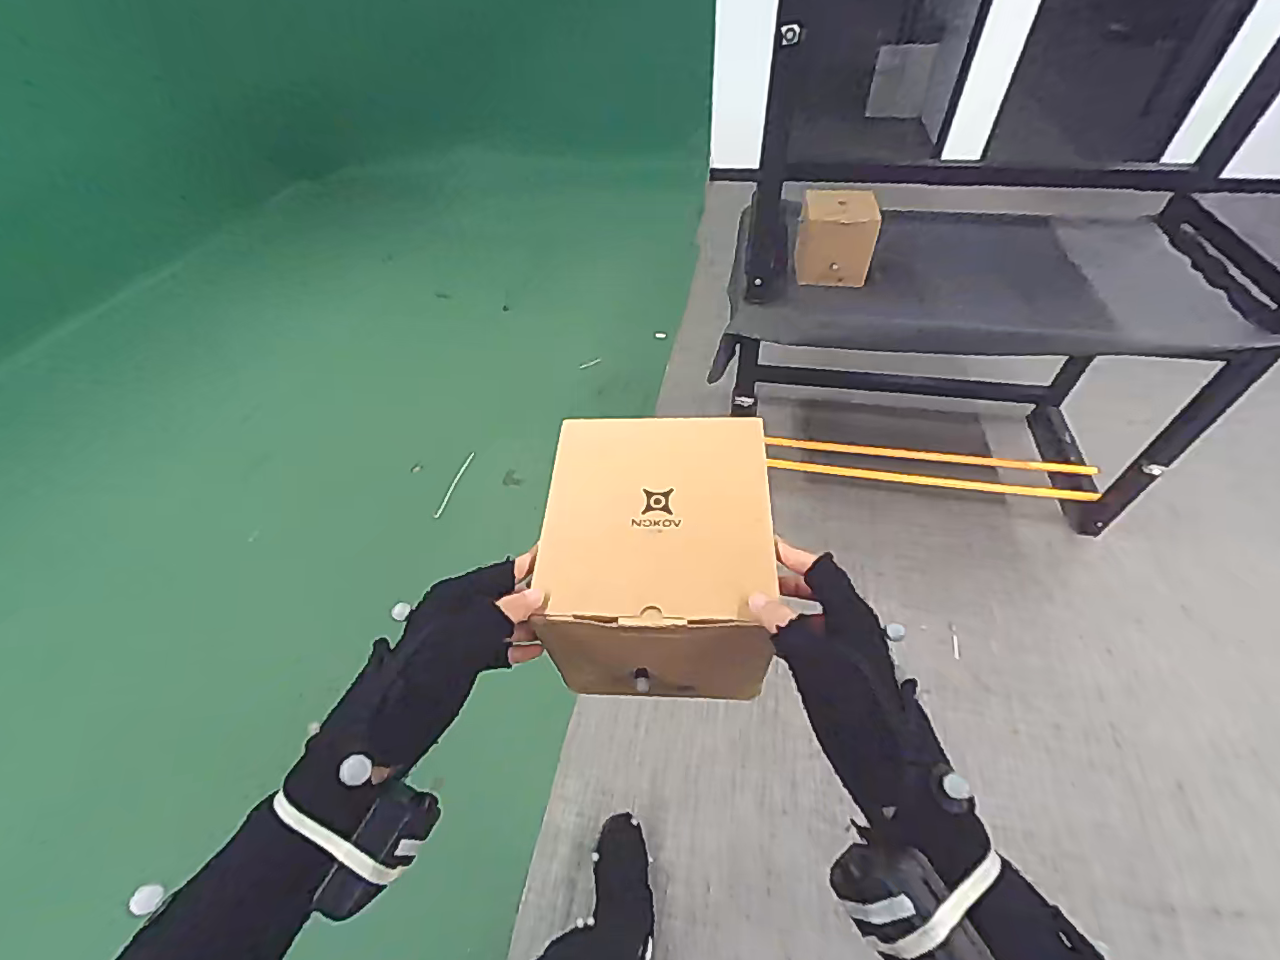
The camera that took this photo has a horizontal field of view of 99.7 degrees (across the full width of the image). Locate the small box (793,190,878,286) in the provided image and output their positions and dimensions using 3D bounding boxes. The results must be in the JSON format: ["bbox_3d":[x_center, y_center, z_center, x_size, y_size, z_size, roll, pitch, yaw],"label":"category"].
[{"bbox_3d":[0.485,-0.615,1.371,0.168,0.176,0.179,4,49,8],"label":"small box"}]
